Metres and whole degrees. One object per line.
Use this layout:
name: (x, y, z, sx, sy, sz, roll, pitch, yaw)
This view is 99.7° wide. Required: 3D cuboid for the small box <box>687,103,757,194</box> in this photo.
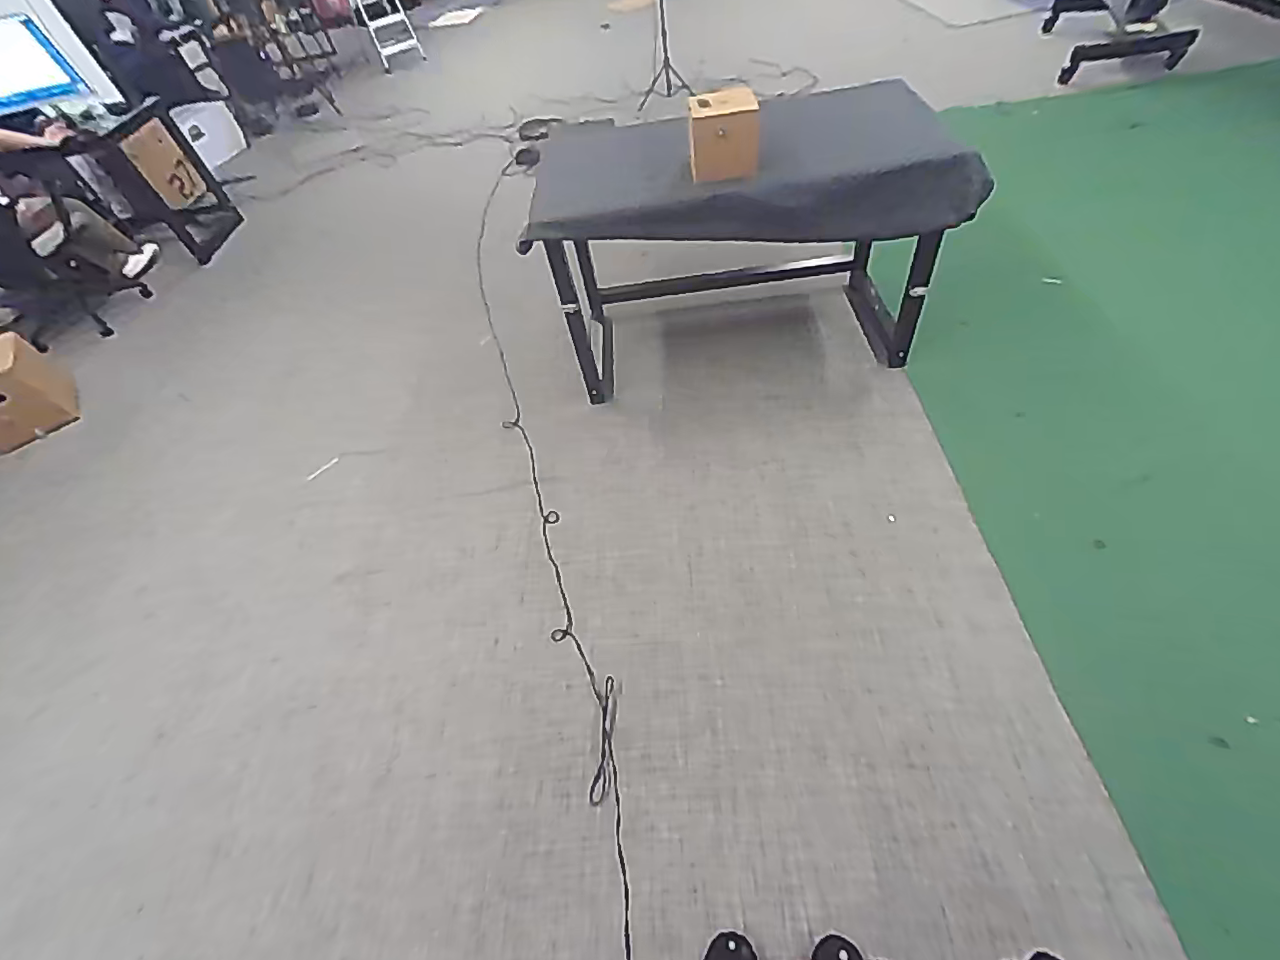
small box: (0.231, -0.929, 1.525, 0.179, 0.176, 0.168, -5, 51, 5)
